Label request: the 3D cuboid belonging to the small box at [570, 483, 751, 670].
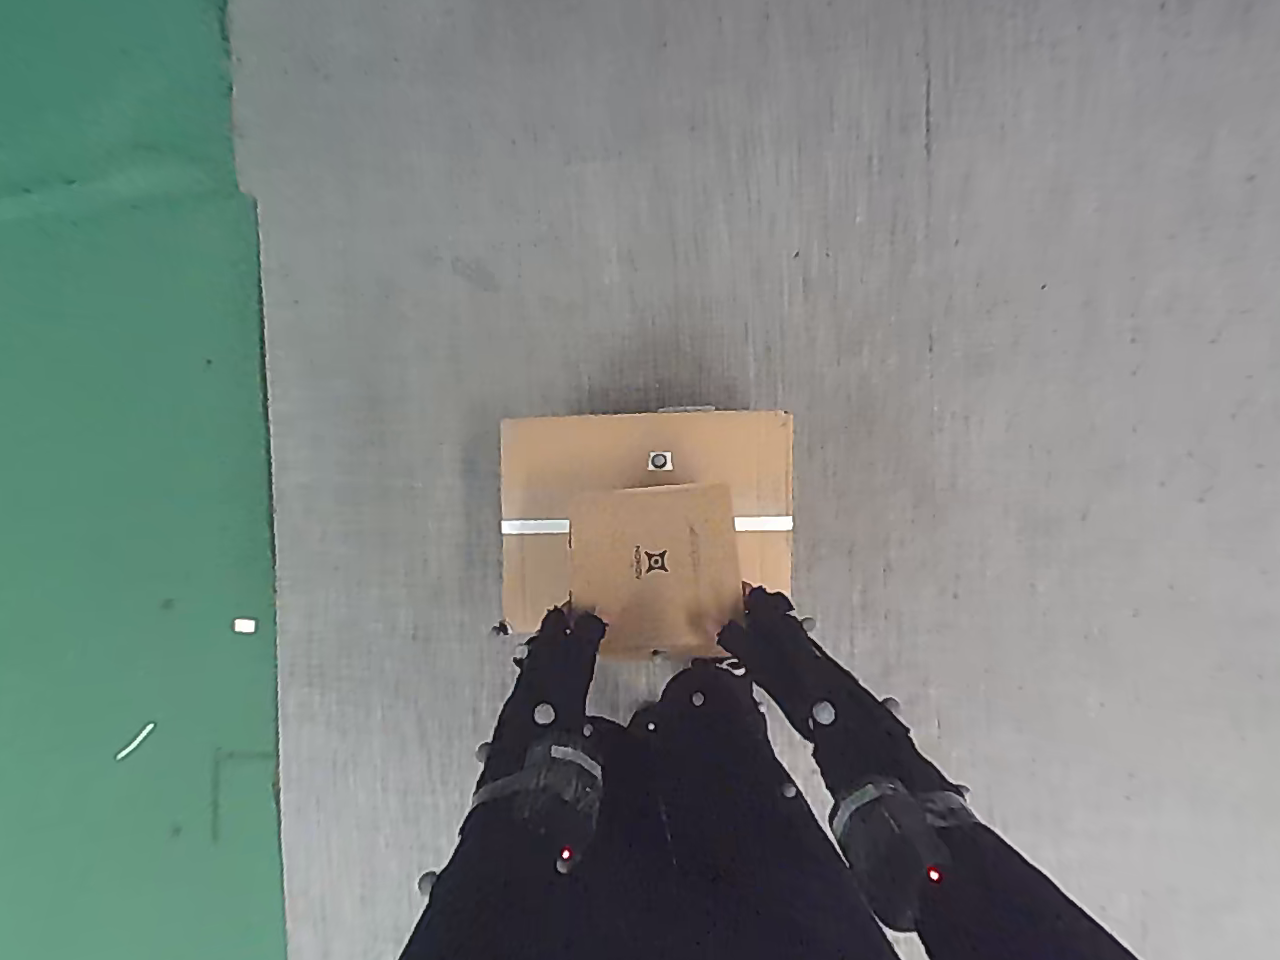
[{"bbox_3d":[0.026,0.119,0.616,0.179,0.176,0.168,-7,65,5],"label":"small box"}]
